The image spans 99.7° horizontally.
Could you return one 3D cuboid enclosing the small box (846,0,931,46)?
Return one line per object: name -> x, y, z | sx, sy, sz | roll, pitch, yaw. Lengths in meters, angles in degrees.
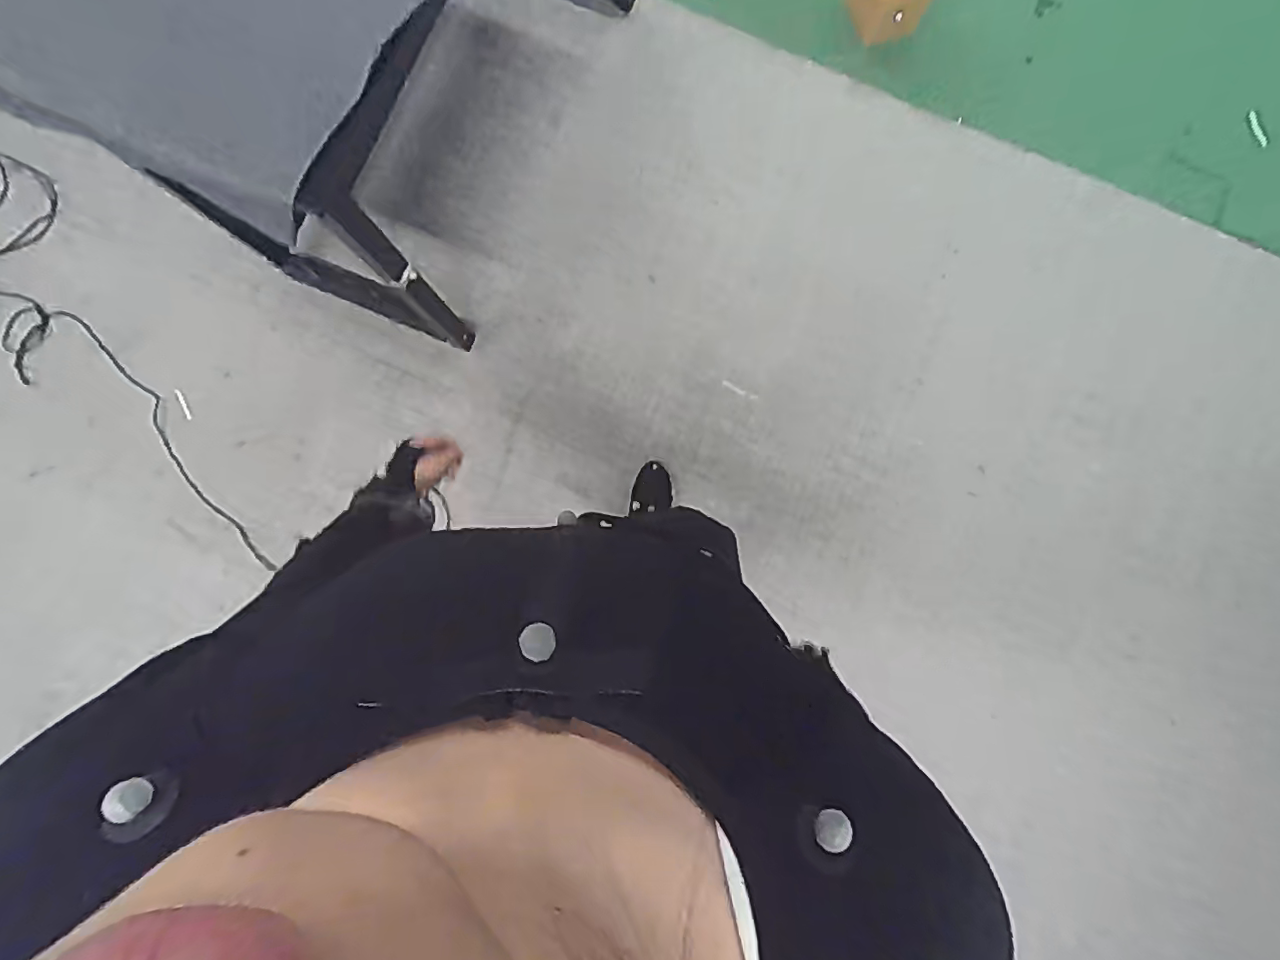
small box -> 0.710, -1.376, 1.521 | 0.168, 0.176, 0.179 | -20, 85, -1
